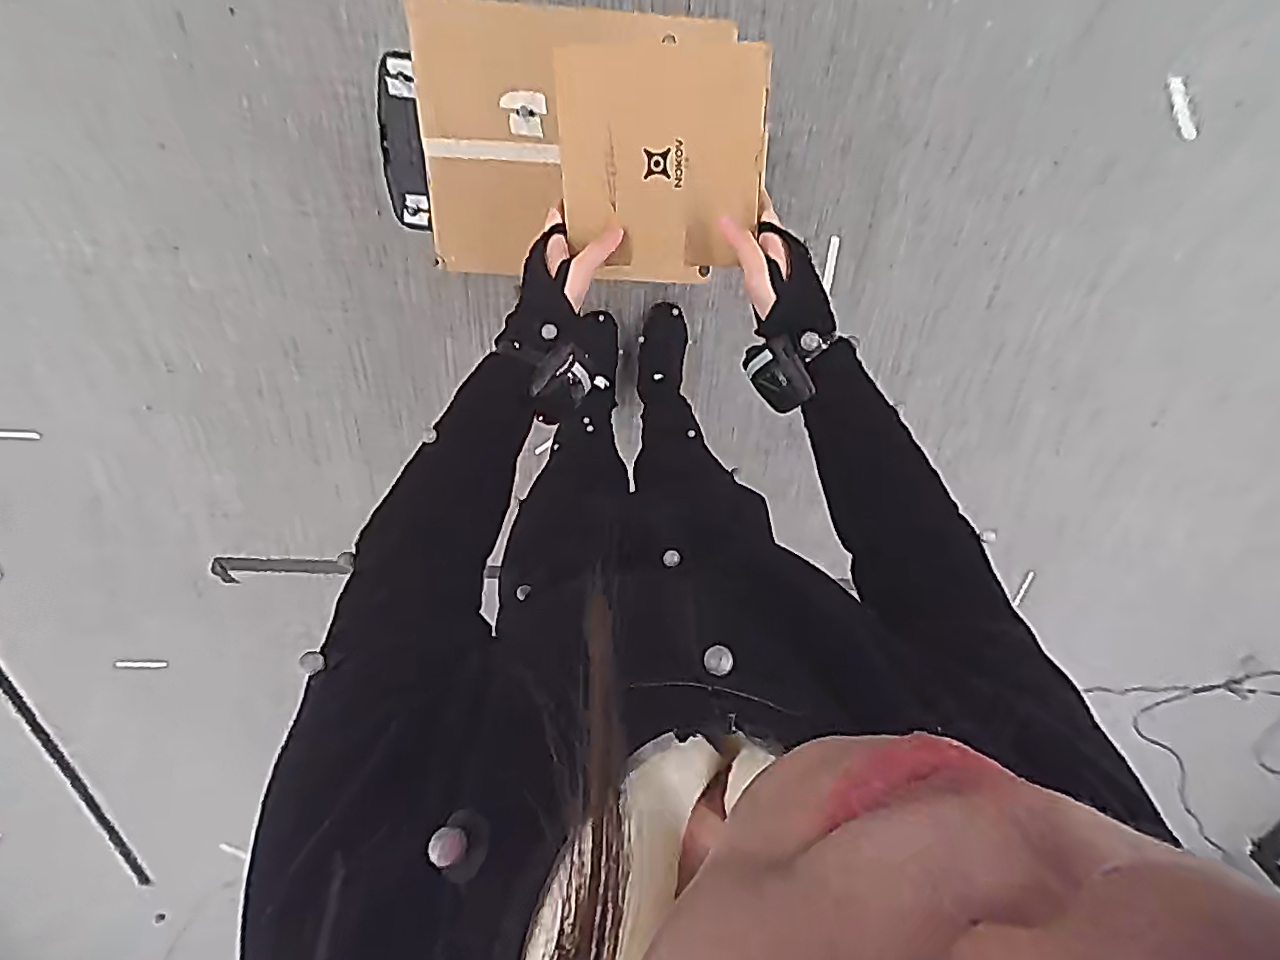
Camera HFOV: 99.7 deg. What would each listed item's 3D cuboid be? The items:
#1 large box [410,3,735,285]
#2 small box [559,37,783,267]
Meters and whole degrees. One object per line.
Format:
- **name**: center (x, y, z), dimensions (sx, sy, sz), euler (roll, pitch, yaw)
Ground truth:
- **large box**: center (-0.089, -0.502, 0.855), dimensions (0.408, 0.320, 0.320), euler (2, 118, -3)
- **small box**: center (0.027, -0.301, 0.521), dimensions (0.179, 0.176, 0.168), euler (1, 115, 3)
